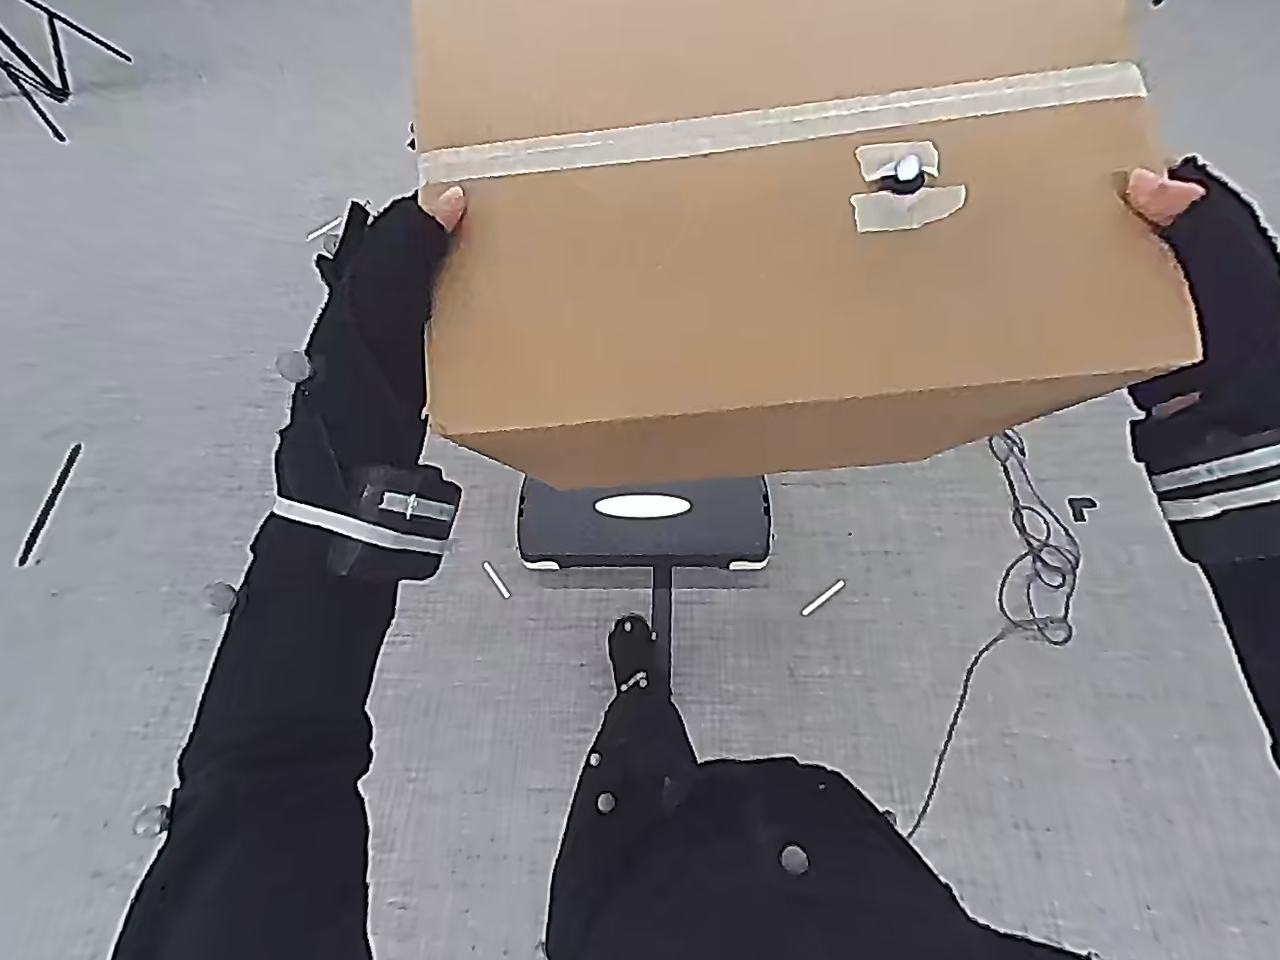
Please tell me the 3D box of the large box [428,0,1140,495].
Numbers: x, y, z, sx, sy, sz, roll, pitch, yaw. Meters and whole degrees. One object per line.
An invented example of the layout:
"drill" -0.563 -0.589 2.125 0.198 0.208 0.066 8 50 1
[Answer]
"large box" 0.076 -0.175 0.478 0.408 0.320 0.320 -6 82 3
